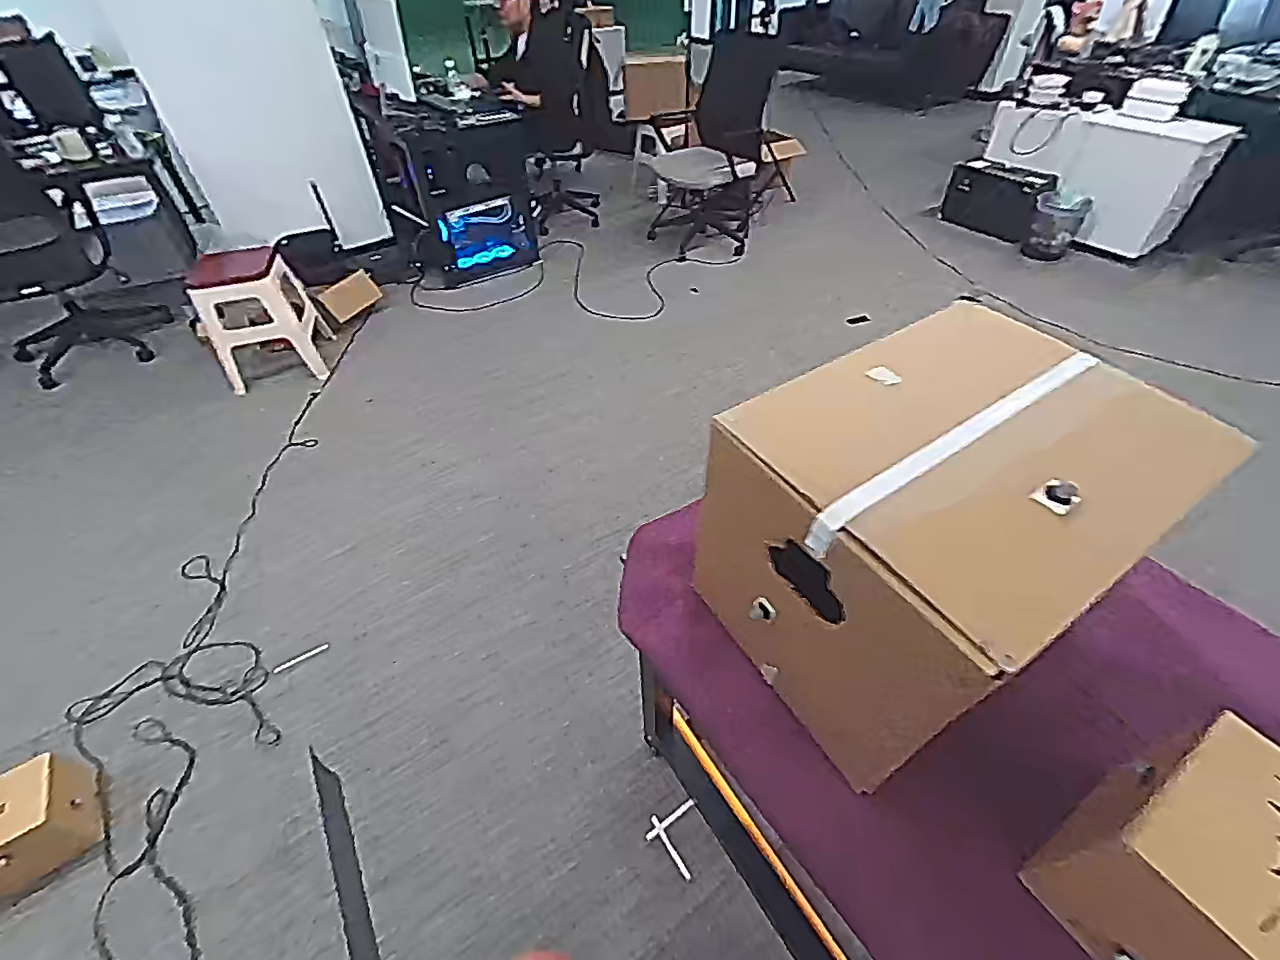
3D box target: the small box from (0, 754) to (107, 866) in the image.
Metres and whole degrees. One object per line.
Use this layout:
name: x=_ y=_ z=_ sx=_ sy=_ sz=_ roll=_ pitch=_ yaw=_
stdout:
small box: x=-1.275 y=0.680 z=1.110 sx=0.168 sy=0.176 sz=0.179 roll=2 pitch=54 yaw=-15
